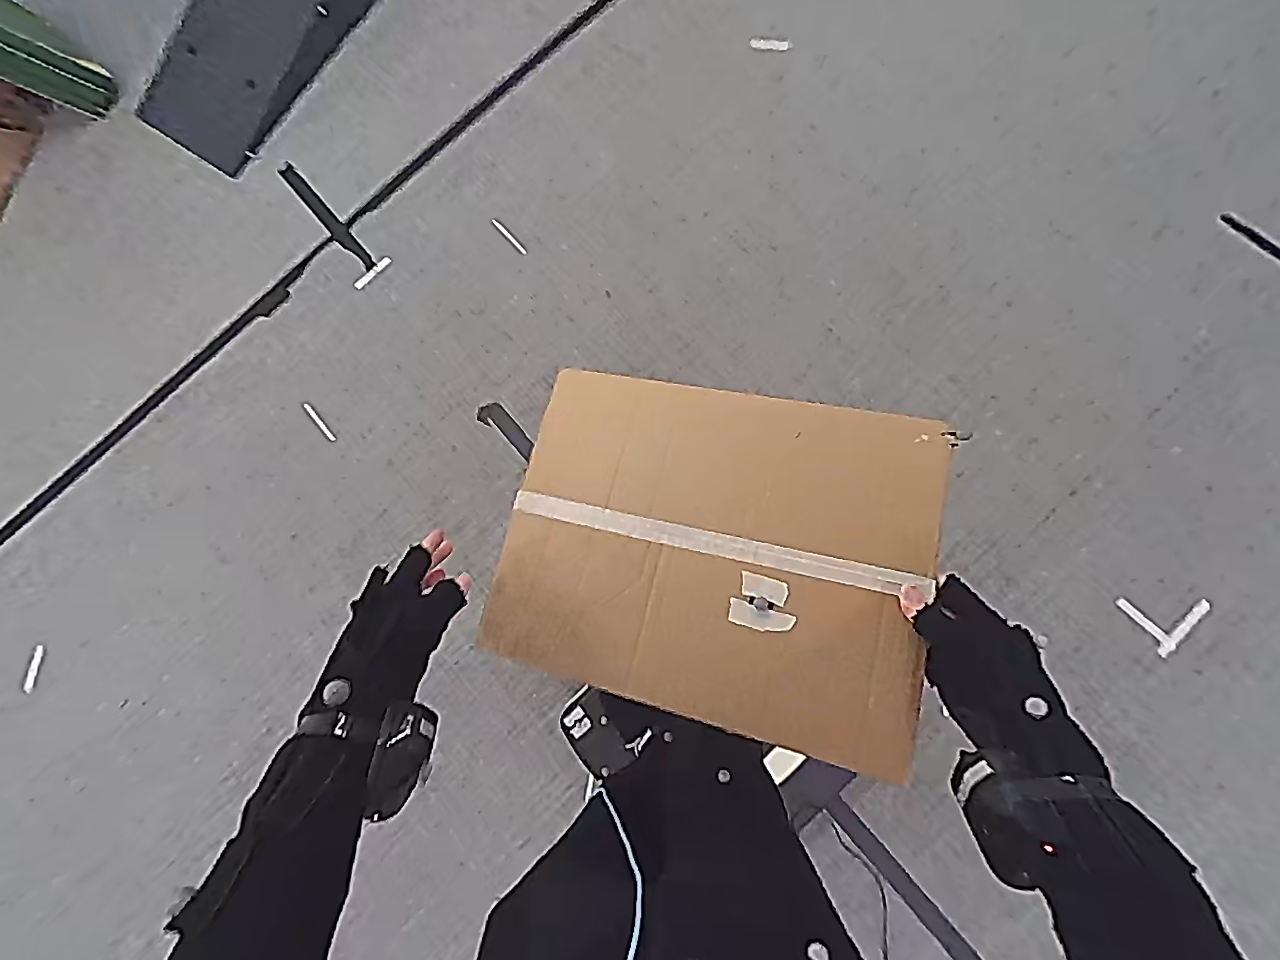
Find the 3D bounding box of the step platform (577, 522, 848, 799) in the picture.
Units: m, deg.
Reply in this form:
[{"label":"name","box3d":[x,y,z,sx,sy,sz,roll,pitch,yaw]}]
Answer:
[{"label":"step platform","box3d":[0.171,0.419,1.315,0.684,0.204,0.286,-44,79,-3]}]
